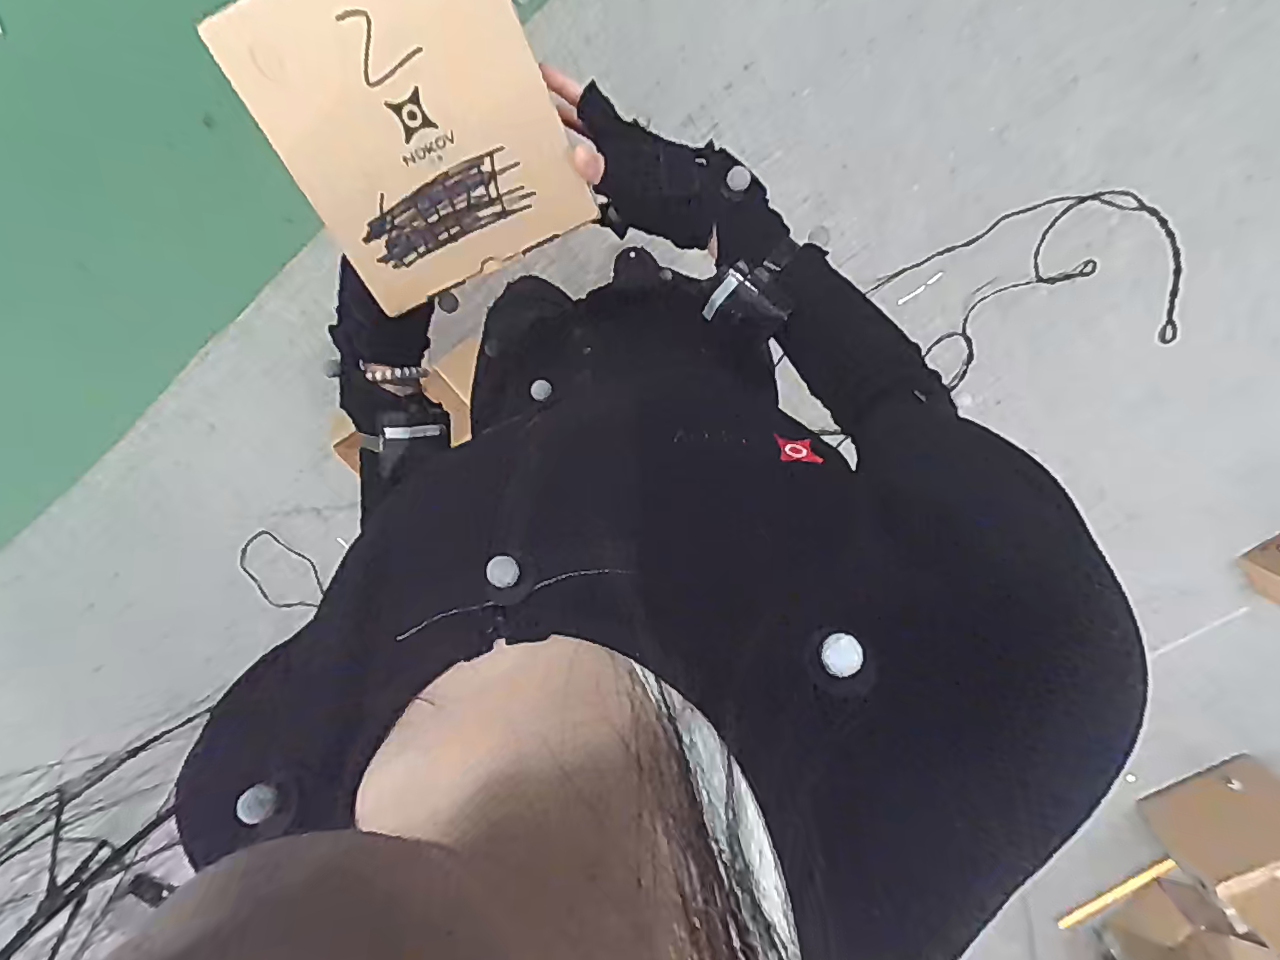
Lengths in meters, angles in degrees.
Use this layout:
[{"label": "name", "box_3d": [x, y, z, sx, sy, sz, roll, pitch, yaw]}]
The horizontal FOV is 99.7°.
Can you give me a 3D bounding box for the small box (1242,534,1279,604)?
[{"label": "small box", "box_3d": [1.950, 0.275, 1.584, 0.168, 0.176, 0.179, -37, 108, 13]}]
